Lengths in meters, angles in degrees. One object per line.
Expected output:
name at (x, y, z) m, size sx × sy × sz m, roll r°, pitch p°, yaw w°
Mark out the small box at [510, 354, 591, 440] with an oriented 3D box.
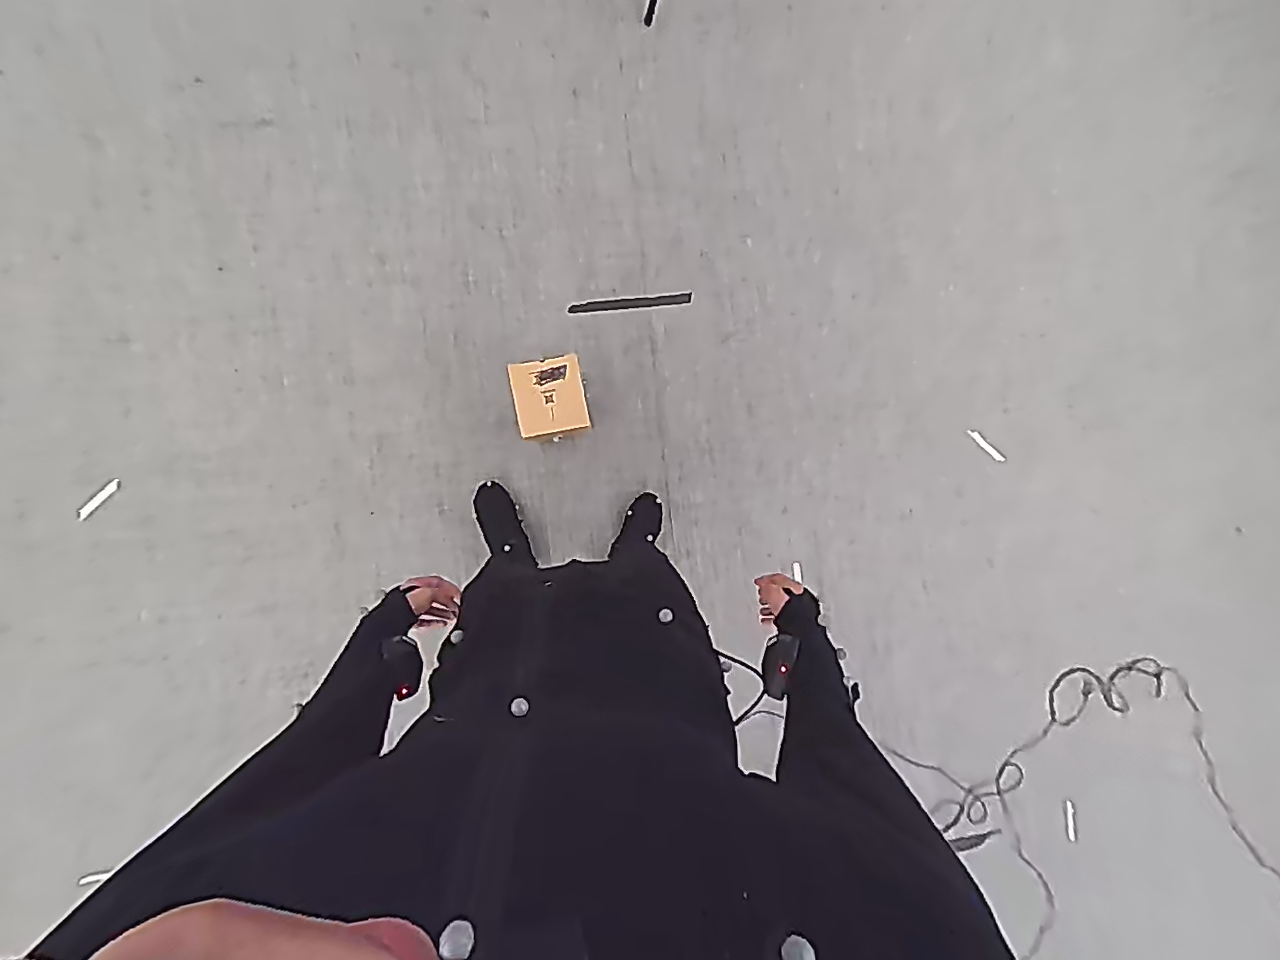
small box at (-0.221, -0.201, 1.350) m, size 0.168 × 0.176 × 0.179 m, roll -11°, pitch 94°, yaw -6°
